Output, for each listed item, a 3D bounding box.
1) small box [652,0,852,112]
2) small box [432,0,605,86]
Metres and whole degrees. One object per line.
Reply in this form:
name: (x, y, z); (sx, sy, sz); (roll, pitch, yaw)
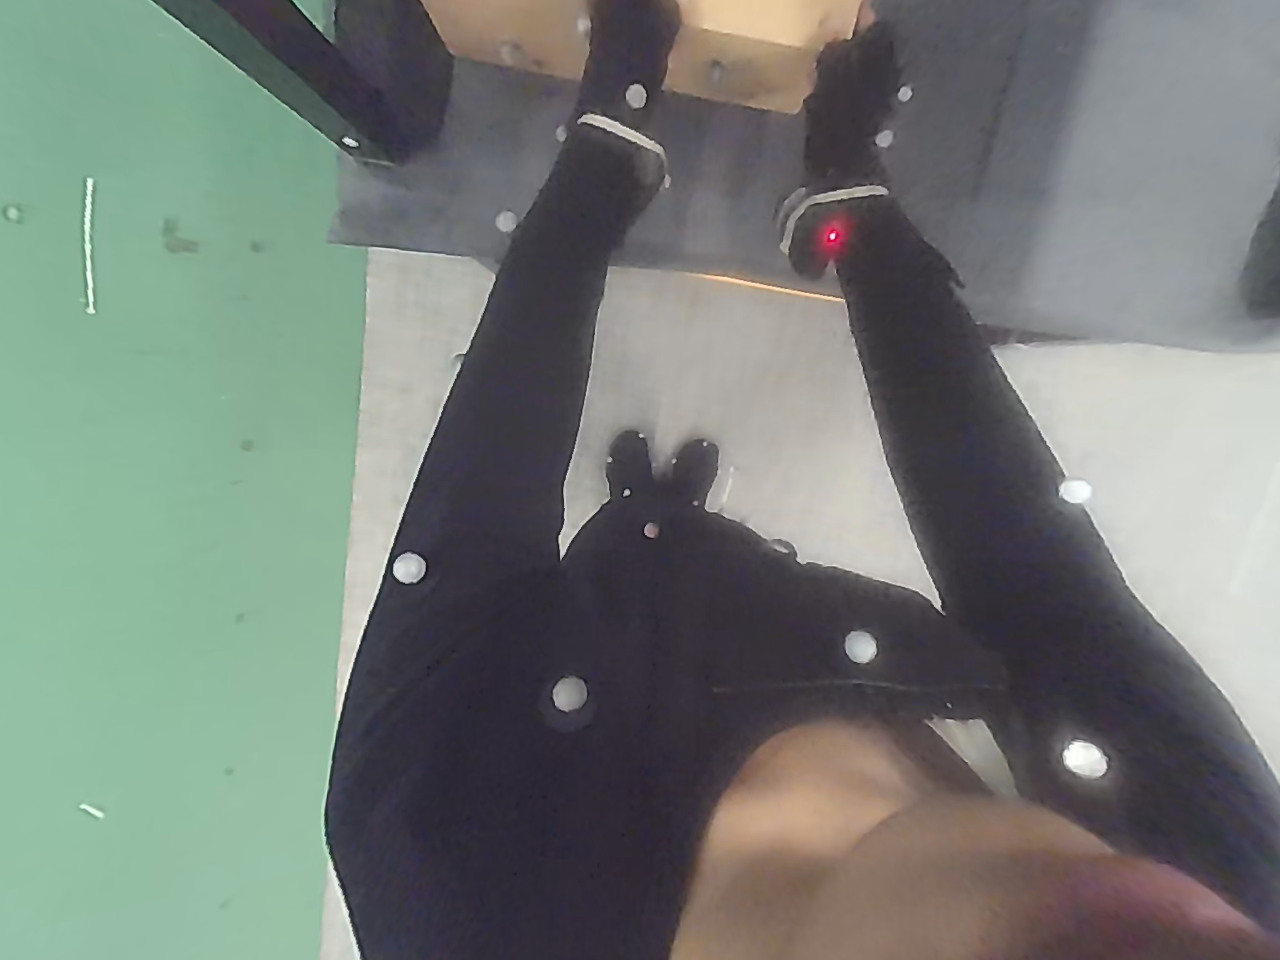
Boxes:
small box: (0.107, -0.480, 0.510); (0.168, 0.176, 0.179); (9, 108, -2)
small box: (-0.118, -0.537, 0.530); (0.168, 0.176, 0.179); (9, 101, -4)
